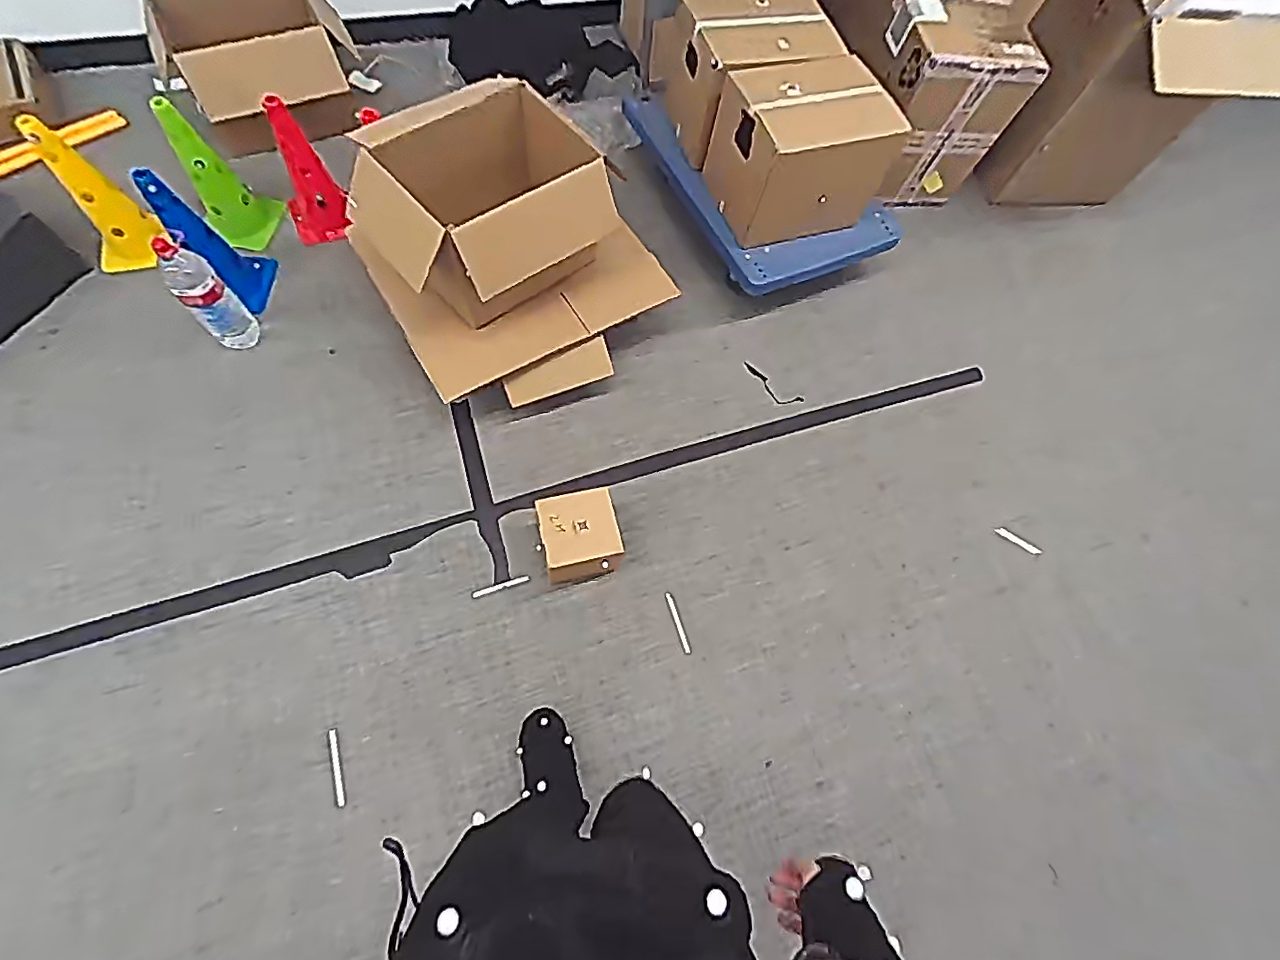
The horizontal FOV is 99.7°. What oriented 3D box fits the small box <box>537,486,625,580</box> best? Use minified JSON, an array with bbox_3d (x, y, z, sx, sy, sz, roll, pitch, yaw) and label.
[{"bbox_3d":[-0.146,0.130,1.300,0.179,0.176,0.168,-11,70,-12],"label":"small box"}]
